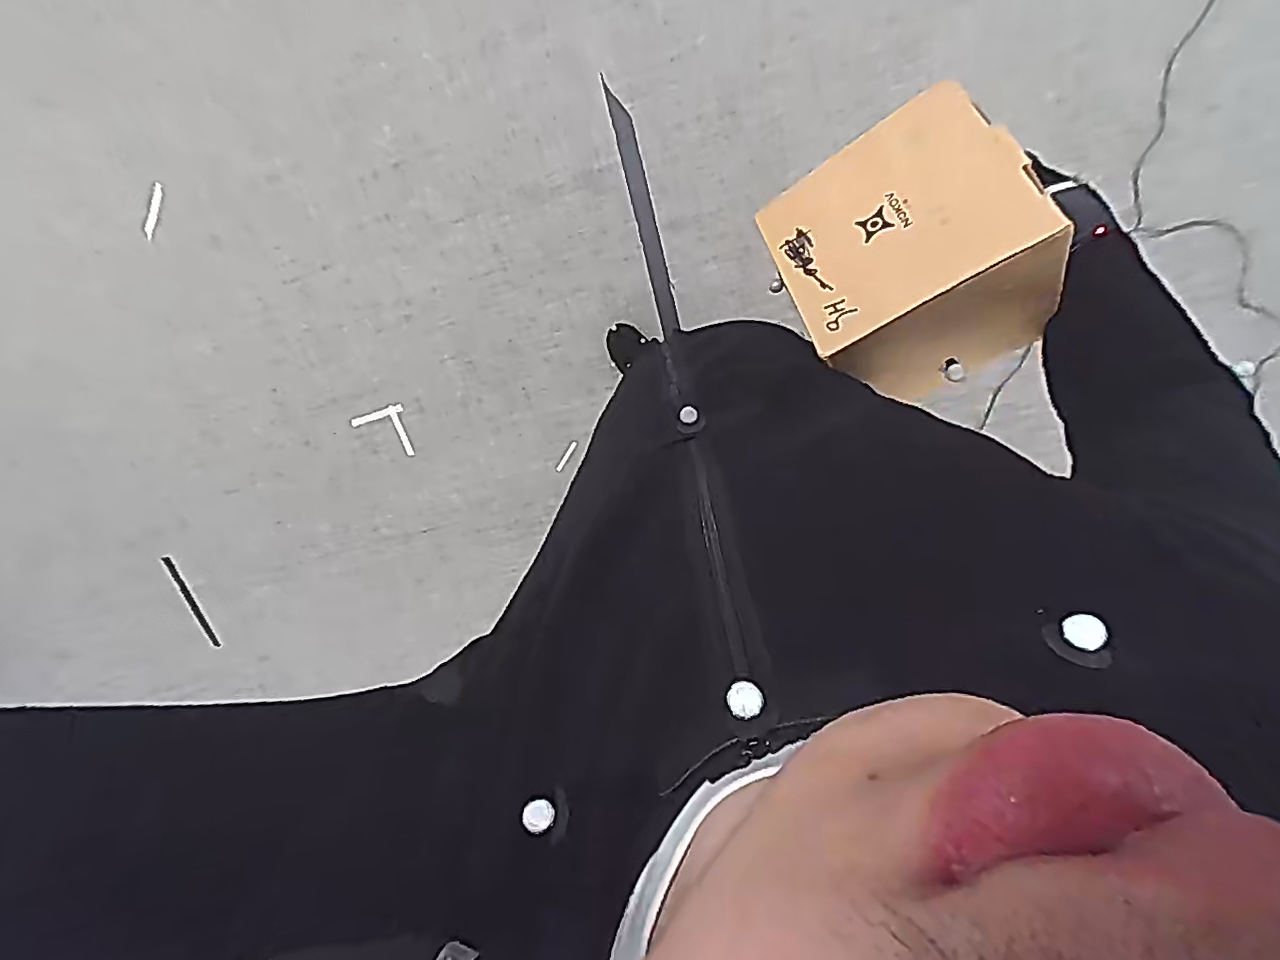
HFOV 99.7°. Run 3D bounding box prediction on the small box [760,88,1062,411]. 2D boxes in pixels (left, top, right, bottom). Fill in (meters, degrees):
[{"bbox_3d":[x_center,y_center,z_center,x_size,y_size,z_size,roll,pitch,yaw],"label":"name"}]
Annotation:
[{"bbox_3d":[0.242,-0.191,0.500,0.179,0.176,0.168,-27,64,25],"label":"small box"}]
